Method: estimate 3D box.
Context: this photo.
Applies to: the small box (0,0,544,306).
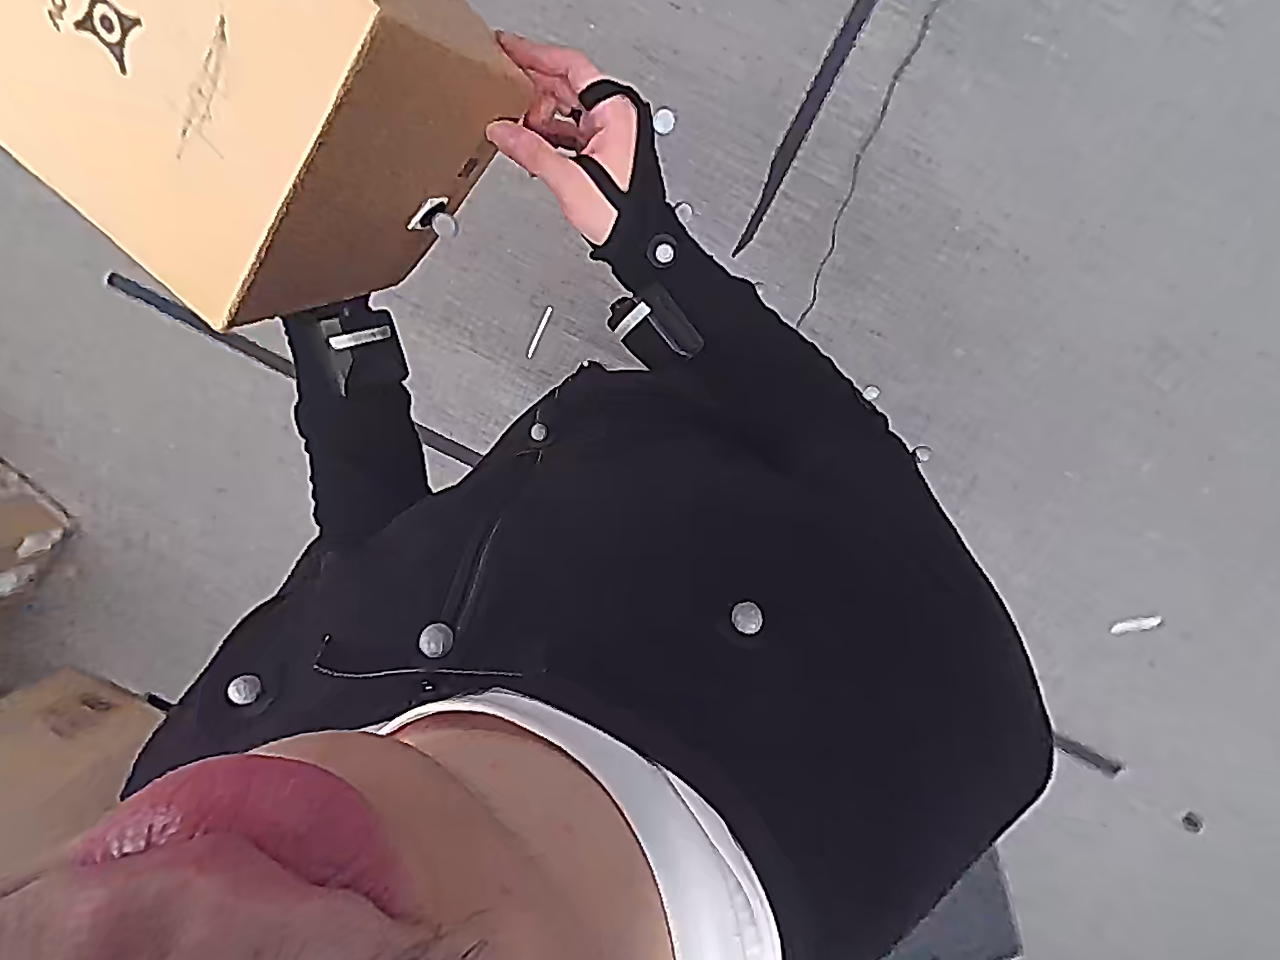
[{"bbox_3d":[-0.184,-0.223,0.283,0.168,0.176,0.179,-38,105,26],"label":"small box"}]
